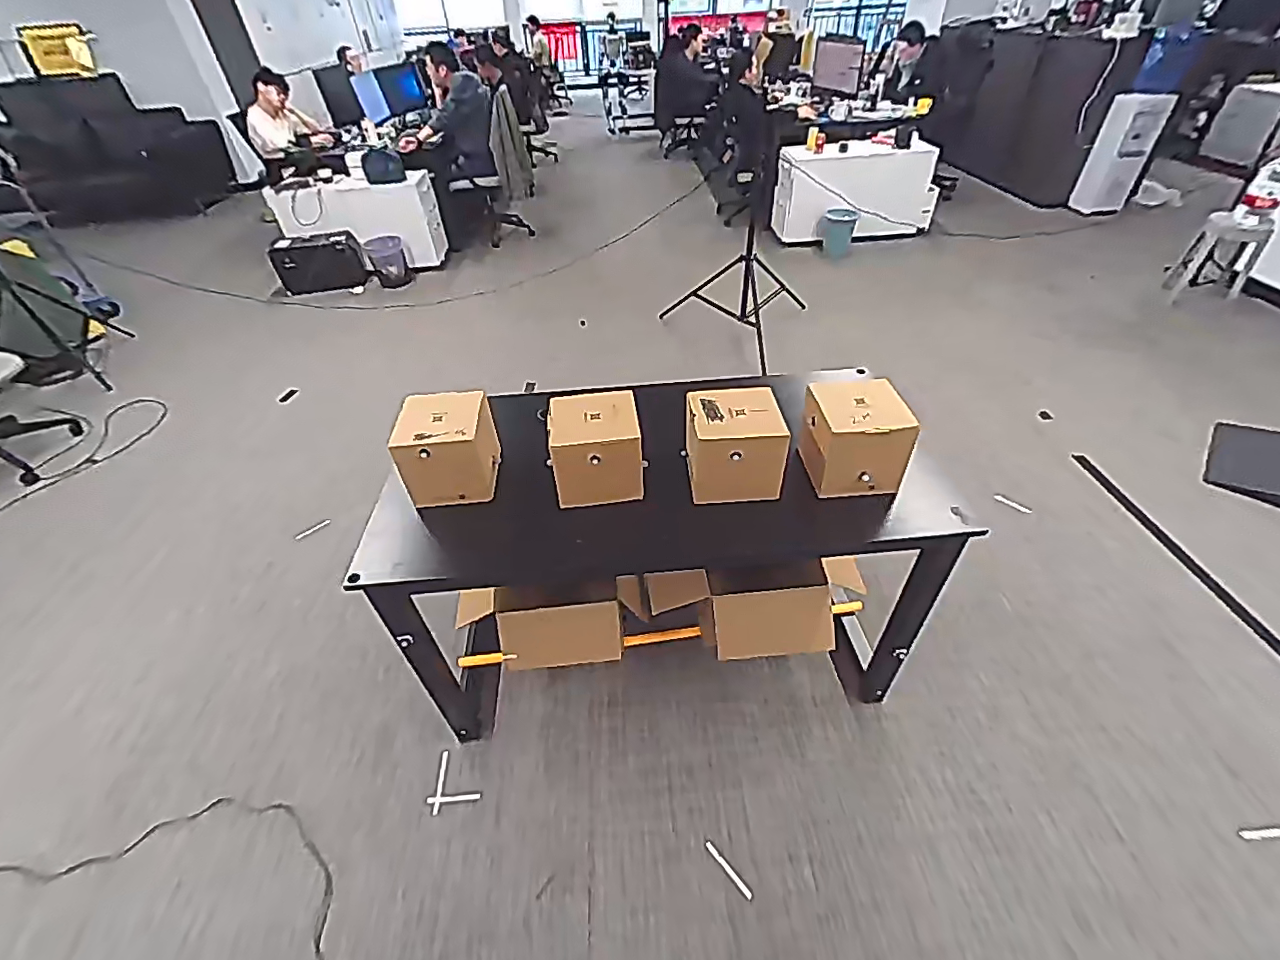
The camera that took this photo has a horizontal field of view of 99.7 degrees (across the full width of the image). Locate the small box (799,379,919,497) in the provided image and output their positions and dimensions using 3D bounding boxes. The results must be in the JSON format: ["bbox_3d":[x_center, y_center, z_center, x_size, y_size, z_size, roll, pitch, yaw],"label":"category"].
[{"bbox_3d":[0.434,-0.086,1.108,0.168,0.176,0.179,-5,42,1],"label":"small box"}]

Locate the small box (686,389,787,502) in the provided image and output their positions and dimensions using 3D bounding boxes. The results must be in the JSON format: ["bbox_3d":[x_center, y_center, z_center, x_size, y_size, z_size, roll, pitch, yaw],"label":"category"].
[{"bbox_3d":[0.189,-0.069,1.107,0.179,0.176,0.168,-3,42,0],"label":"small box"}]

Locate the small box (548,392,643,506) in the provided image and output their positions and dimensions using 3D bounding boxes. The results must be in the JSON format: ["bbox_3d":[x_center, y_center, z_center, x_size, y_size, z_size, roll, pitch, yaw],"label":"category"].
[{"bbox_3d":[-0.090,-0.062,1.122,0.179,0.176,0.168,-6,43,-4],"label":"small box"}]

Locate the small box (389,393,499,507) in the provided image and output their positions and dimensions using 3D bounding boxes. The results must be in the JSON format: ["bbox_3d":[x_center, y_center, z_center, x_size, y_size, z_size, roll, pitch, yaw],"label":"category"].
[{"bbox_3d":[-0.401,-0.064,1.142,0.168,0.176,0.179,-5,42,-2],"label":"small box"}]
